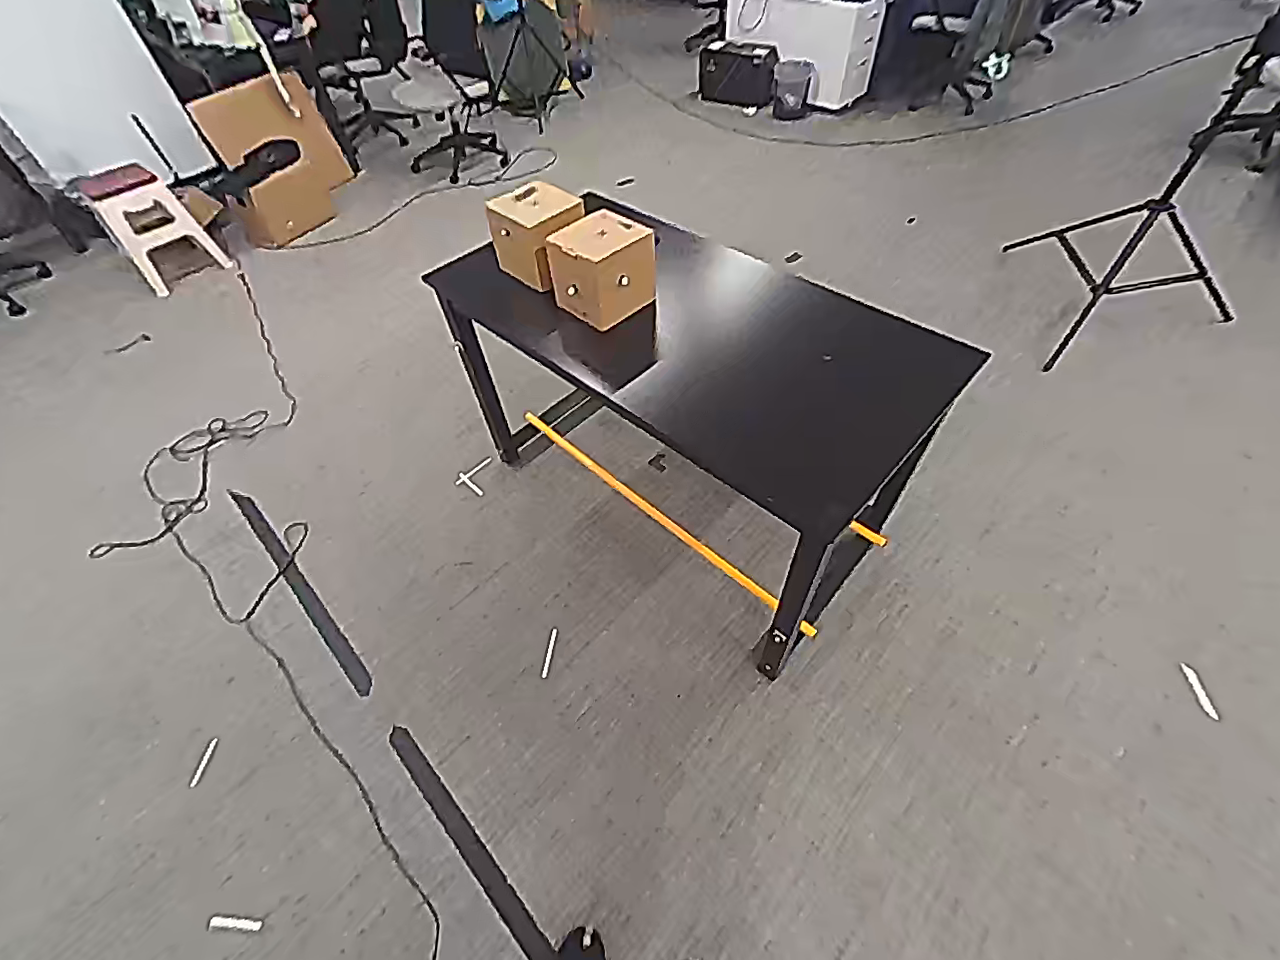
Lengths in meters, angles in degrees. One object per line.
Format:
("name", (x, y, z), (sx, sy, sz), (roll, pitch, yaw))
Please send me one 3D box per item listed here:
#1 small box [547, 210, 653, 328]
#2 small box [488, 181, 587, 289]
("small box", (-0.081, -0.474, 1.225), (0.168, 0.176, 0.179), (37, 62, 26))
("small box", (-0.243, -0.602, 1.333), (0.179, 0.176, 0.168), (37, 62, 26))
